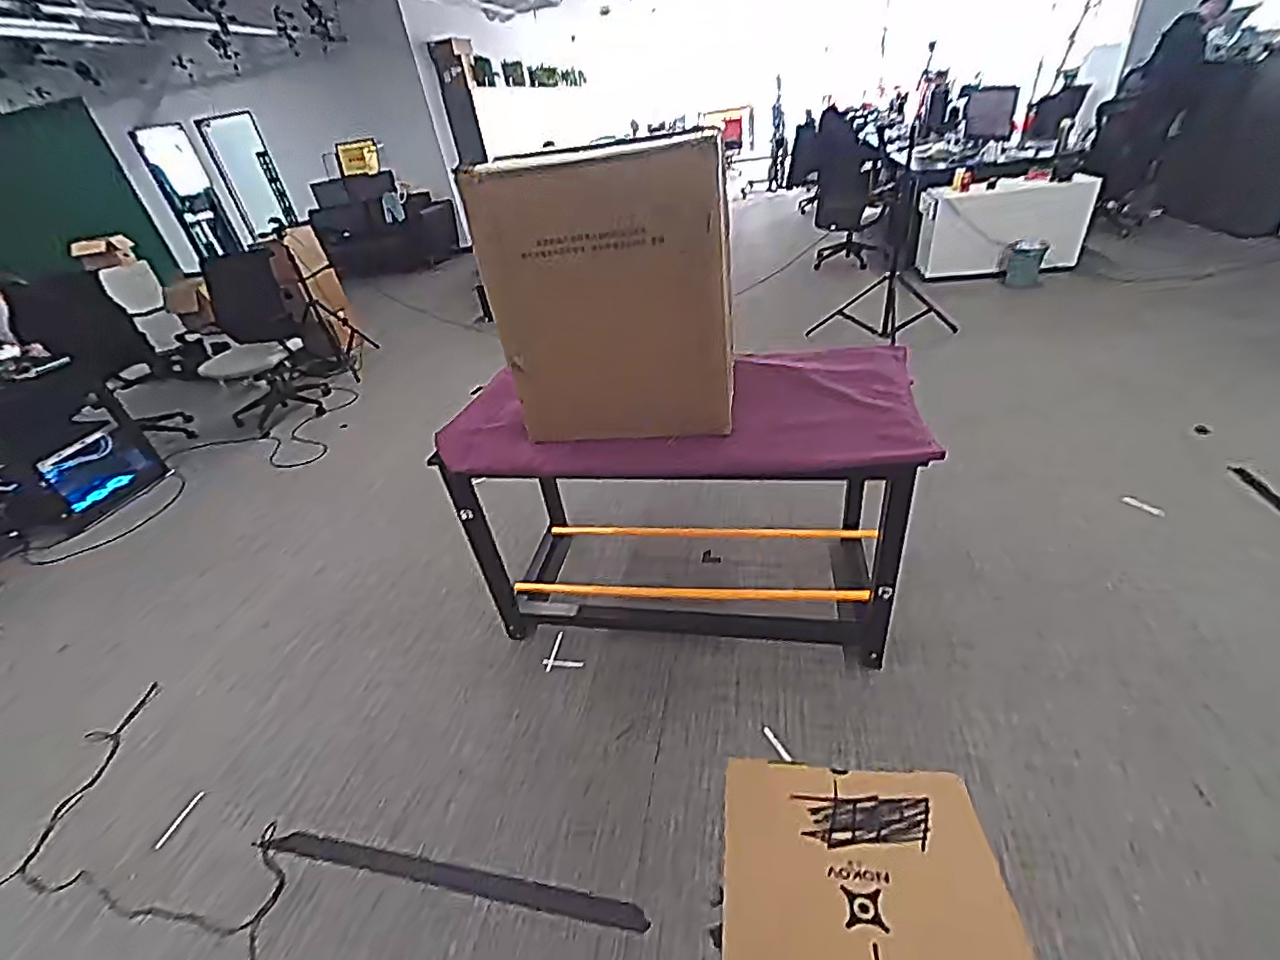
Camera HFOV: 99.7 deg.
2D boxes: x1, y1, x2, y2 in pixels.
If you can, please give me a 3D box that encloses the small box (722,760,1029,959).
[{"bbox_3d":[0.140,0.324,0.357,0.168,0.176,0.179,-1,23,11],"label":"small box"}]
